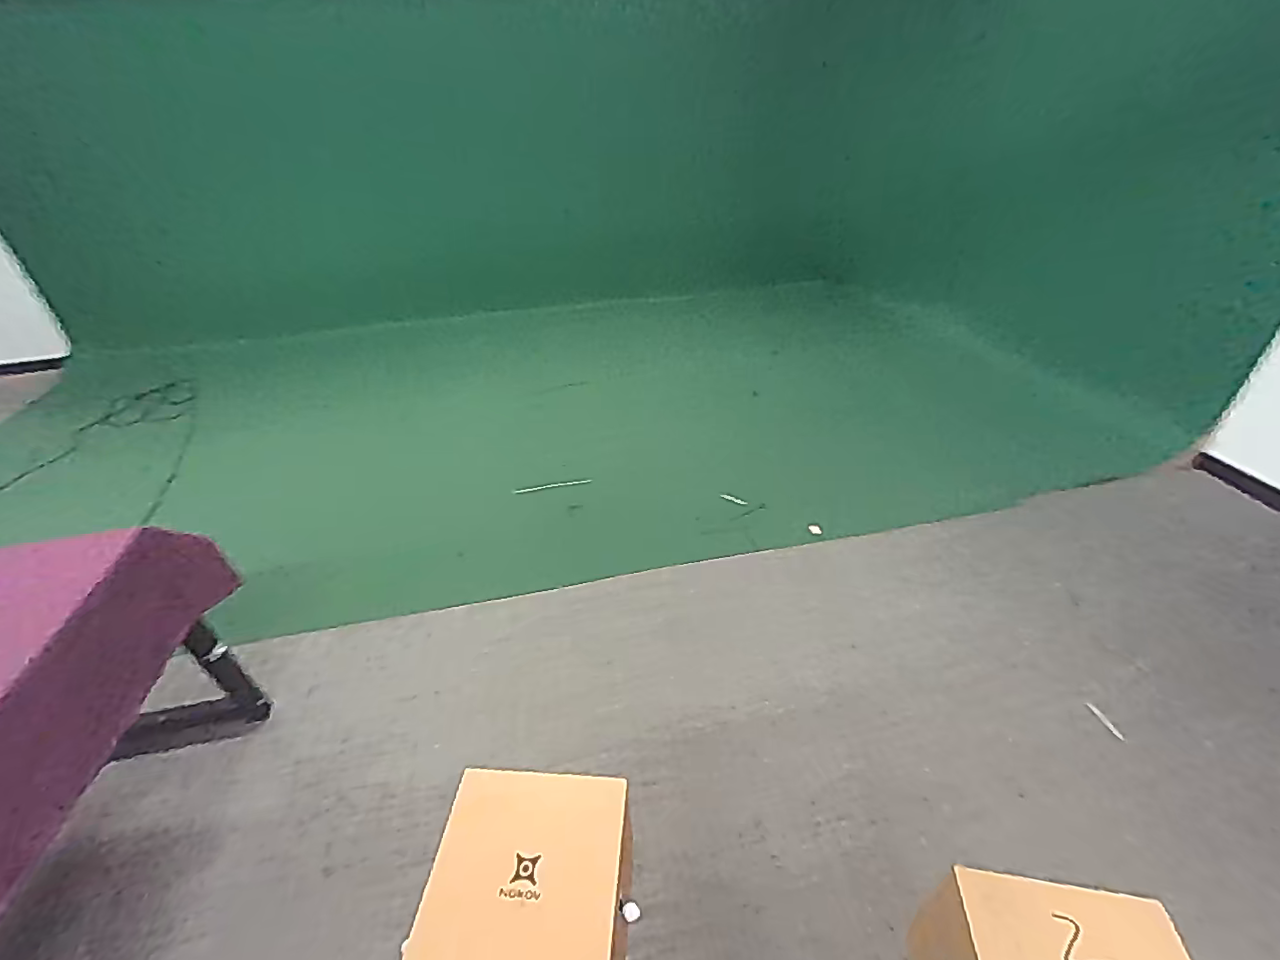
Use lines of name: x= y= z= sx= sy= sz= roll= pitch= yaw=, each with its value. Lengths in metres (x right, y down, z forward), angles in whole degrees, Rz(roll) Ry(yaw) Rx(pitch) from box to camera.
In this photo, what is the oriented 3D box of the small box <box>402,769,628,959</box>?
small box: x=-0.099 y=0.407 z=0.512 sx=0.168 sy=0.176 sz=0.179 roll=1 pitch=37 yaw=4
